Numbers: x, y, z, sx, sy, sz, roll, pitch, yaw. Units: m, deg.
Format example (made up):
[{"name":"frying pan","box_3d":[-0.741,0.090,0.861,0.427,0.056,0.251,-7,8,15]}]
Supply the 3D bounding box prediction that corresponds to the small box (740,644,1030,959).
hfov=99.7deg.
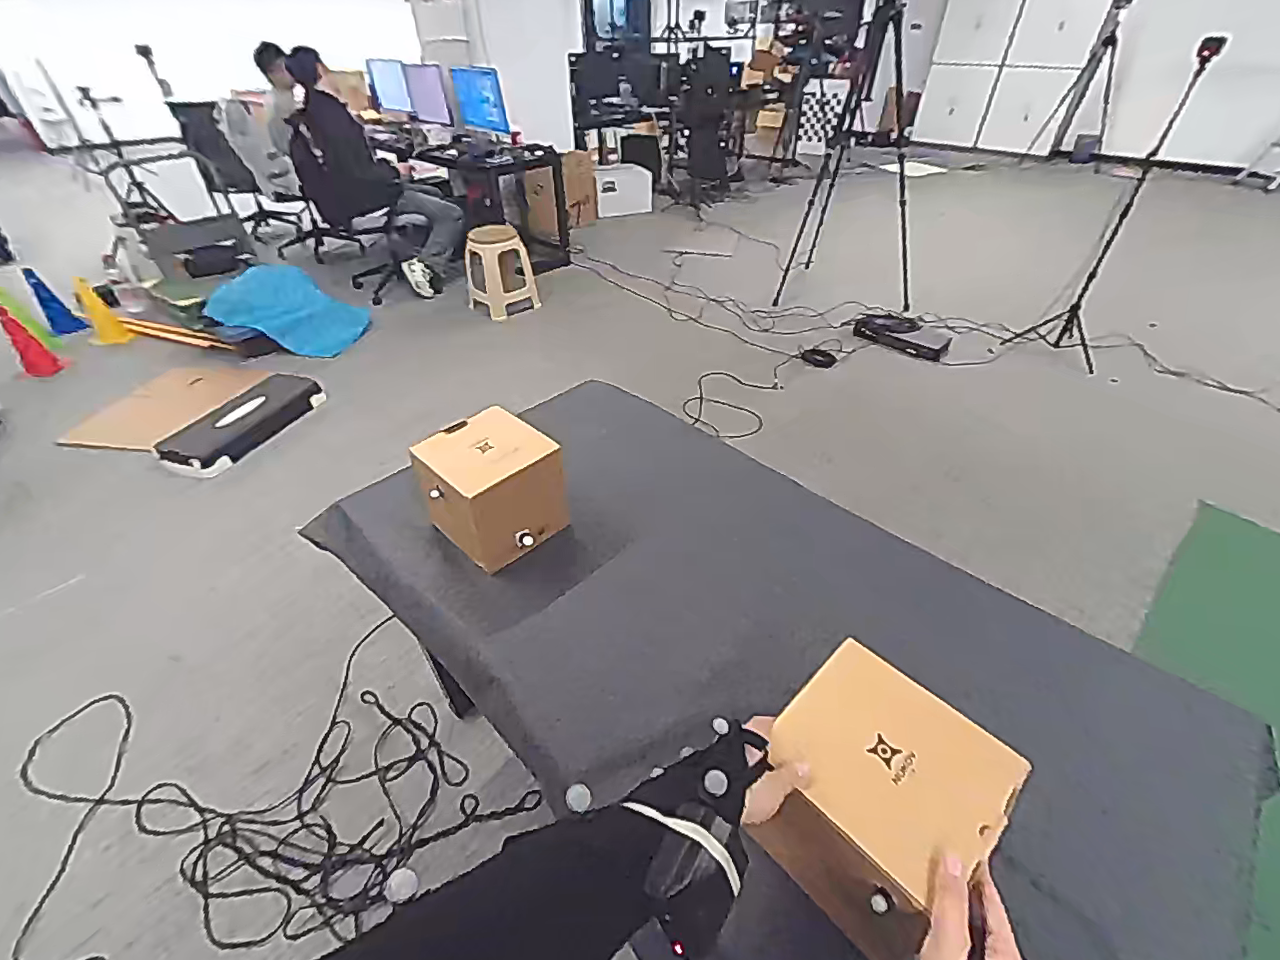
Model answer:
[{"name":"small box","box_3d":[0.215,0.303,0.517,0.168,0.176,0.179,-31,49,-31]}]

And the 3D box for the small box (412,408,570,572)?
[{"name":"small box","box_3d":[-0.233,0.016,0.872,0.179,0.176,0.168,32,51,32]}]
